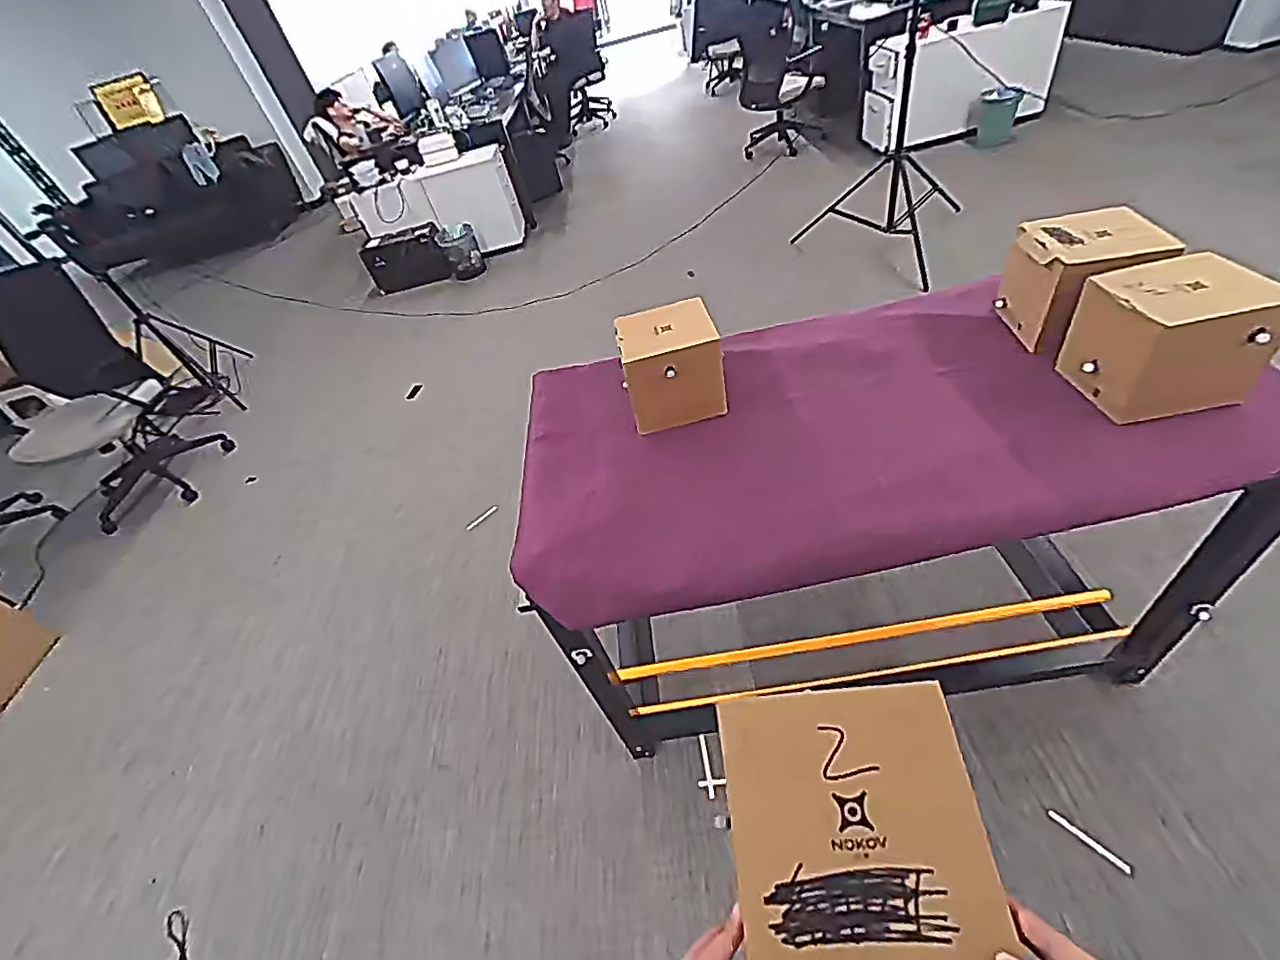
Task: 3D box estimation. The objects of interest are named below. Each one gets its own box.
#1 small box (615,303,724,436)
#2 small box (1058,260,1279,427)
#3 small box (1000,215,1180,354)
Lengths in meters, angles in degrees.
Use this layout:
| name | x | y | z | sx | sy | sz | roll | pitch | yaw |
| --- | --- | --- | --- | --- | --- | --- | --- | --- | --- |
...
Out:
| name | x | y | z | sx | sy | sz | roll | pitch | yaw |
| --- | --- | --- | --- | --- | --- | --- | --- | --- | --- |
| small box | 0.060 | -0.211 | 1.043 | 0.179 | 0.176 | 0.168 | -14 | 44 | 3 |
| small box | 0.787 | -0.202 | 0.816 | 0.179 | 0.176 | 0.168 | -11 | 42 | 7 |
| small box | 0.773 | -0.341 | 0.960 | 0.179 | 0.176 | 0.168 | -6 | 46 | 9 |
